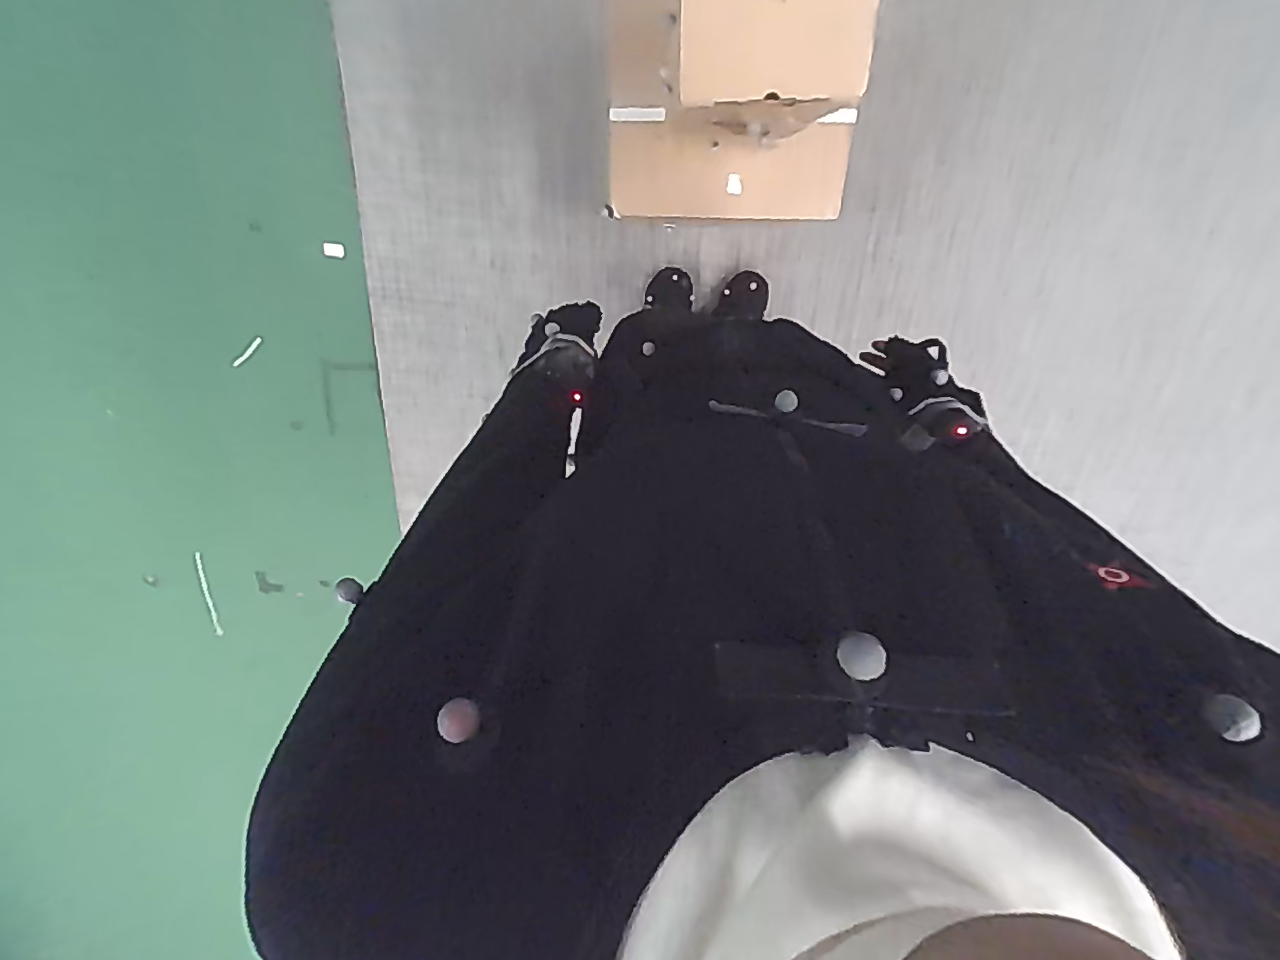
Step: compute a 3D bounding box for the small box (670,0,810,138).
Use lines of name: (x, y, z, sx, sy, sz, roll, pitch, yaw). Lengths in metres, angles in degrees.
small box: (0.122, -0.528, 0.662, 0.168, 0.176, 0.179, 1, 117, 2)

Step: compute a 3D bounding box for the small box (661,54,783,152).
small box: (0.130, -0.598, 0.805, 0.179, 0.176, 0.168, 9, 117, -1)

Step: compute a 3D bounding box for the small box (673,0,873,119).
small box: (0.117, -0.454, 0.516, 0.168, 0.176, 0.179, 0, 119, 2)
